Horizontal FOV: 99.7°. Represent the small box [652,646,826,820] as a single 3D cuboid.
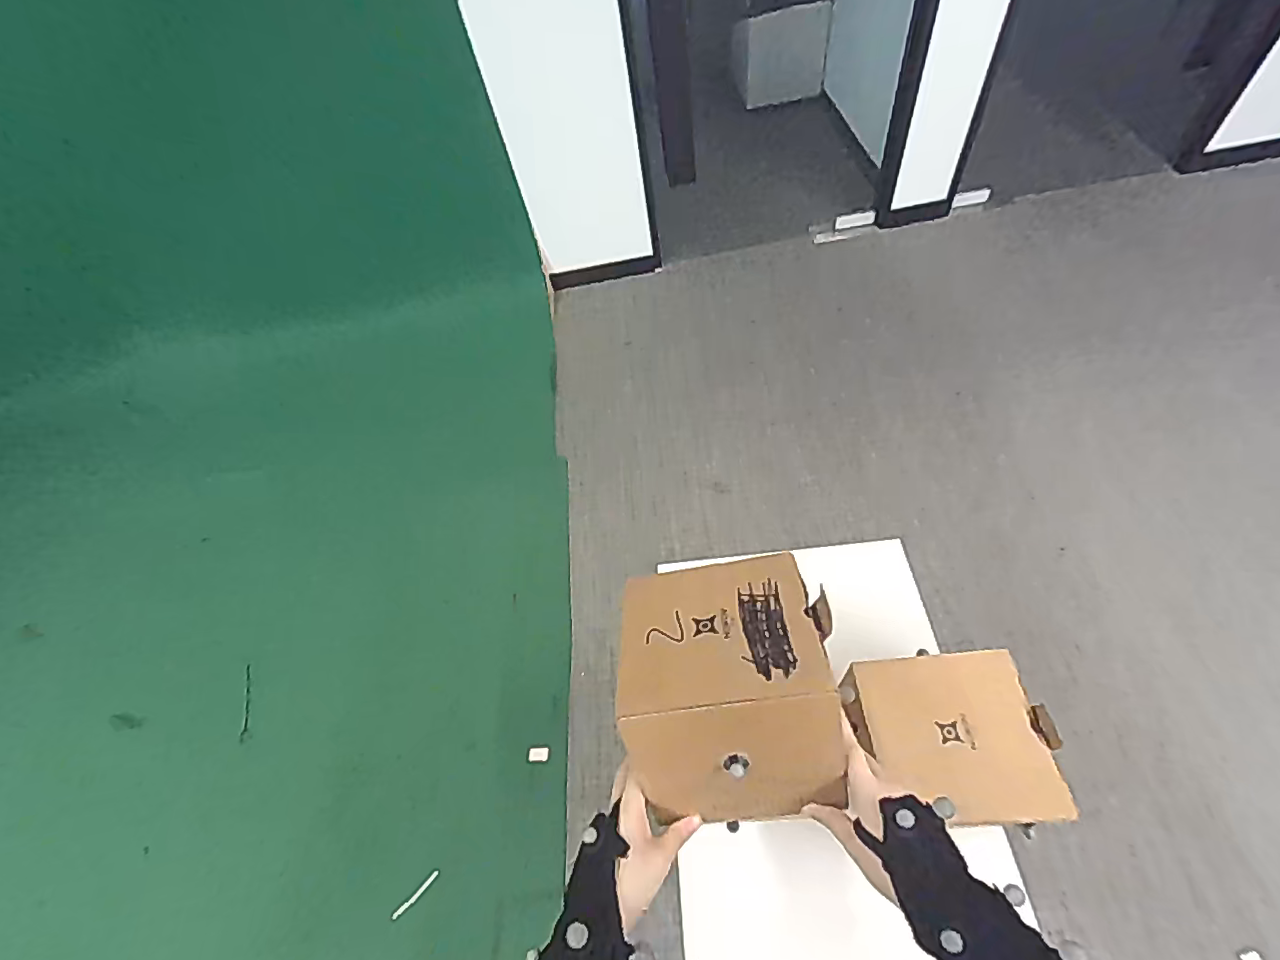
[{"bbox_3d":[0.115,0.319,0.670,0.179,0.176,0.168,-7,56,5],"label":"small box"}]
